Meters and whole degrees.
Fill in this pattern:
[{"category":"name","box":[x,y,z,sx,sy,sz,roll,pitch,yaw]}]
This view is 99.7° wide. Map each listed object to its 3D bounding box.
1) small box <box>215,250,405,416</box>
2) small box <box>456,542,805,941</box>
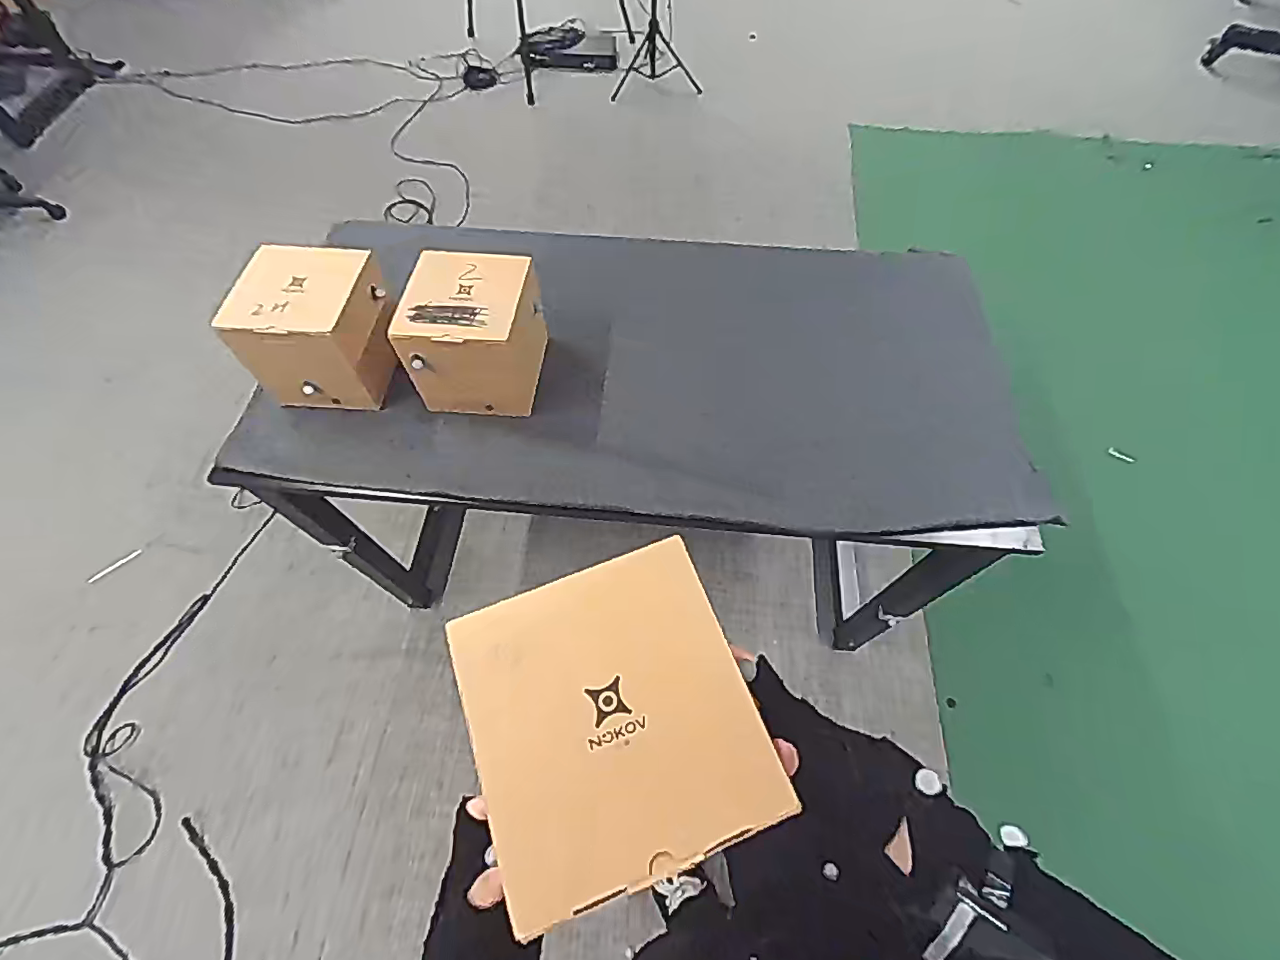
[{"category":"small box","box":[-0.483,-0.222,0.830,0.168,0.176,0.179,3,59,1]},{"category":"small box","box":[-0.014,0.174,0.394,0.168,0.176,0.179,-20,66,-9]}]
